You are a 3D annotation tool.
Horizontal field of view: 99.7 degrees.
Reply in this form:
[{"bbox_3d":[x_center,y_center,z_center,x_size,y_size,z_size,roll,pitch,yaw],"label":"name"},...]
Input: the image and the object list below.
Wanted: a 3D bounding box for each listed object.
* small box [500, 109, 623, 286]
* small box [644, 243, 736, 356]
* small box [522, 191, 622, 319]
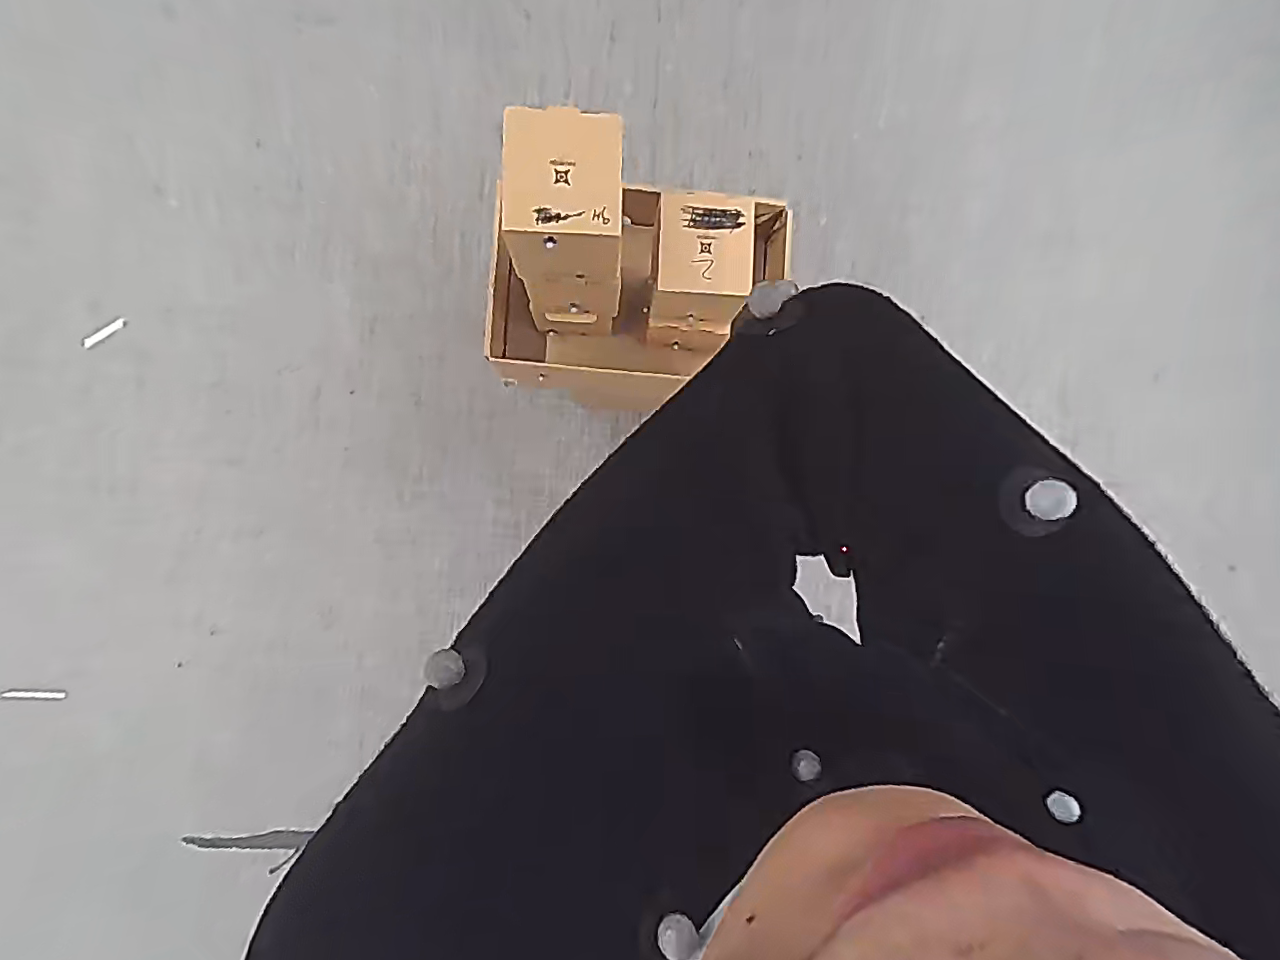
[{"bbox_3d":[-0.115,-0.418,0.824,0.168,0.176,0.179,1,87,-4],"label":"small box"},{"bbox_3d":[0.101,-0.383,1.172,0.168,0.176,0.179,6,88,-3],"label":"small box"},{"bbox_3d":[-0.121,-0.412,0.989,0.168,0.176,0.179,1,89,-4],"label":"small box"}]
